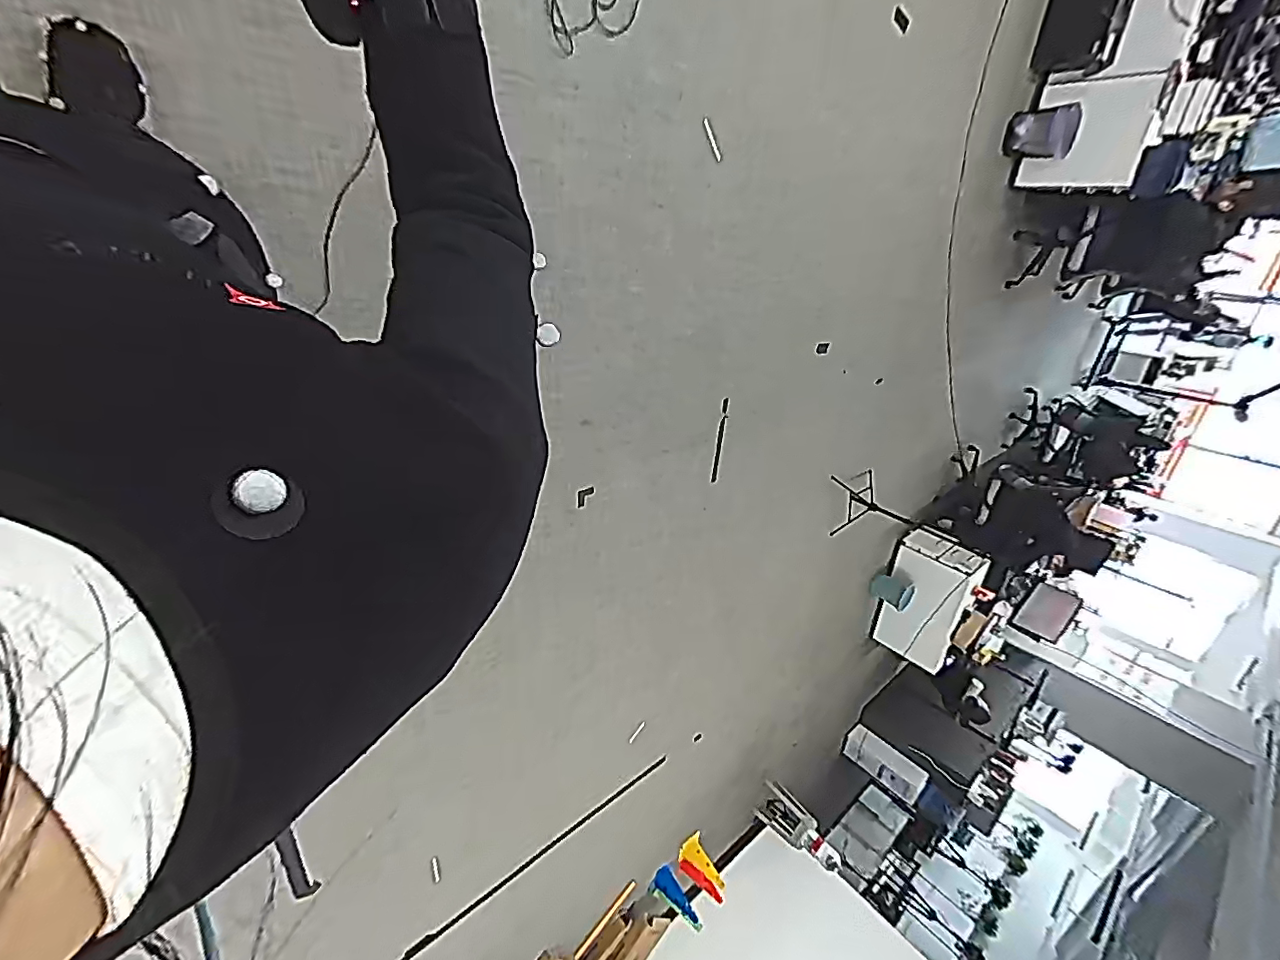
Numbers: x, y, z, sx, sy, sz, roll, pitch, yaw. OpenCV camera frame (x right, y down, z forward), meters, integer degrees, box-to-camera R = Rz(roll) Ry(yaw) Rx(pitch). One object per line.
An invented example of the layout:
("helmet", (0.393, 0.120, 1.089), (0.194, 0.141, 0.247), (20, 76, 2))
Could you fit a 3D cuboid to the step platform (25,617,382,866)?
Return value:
("step platform", (-1.029, 0.622, 1.364), (0.684, 0.204, 0.286), (-18, 123, -35))
